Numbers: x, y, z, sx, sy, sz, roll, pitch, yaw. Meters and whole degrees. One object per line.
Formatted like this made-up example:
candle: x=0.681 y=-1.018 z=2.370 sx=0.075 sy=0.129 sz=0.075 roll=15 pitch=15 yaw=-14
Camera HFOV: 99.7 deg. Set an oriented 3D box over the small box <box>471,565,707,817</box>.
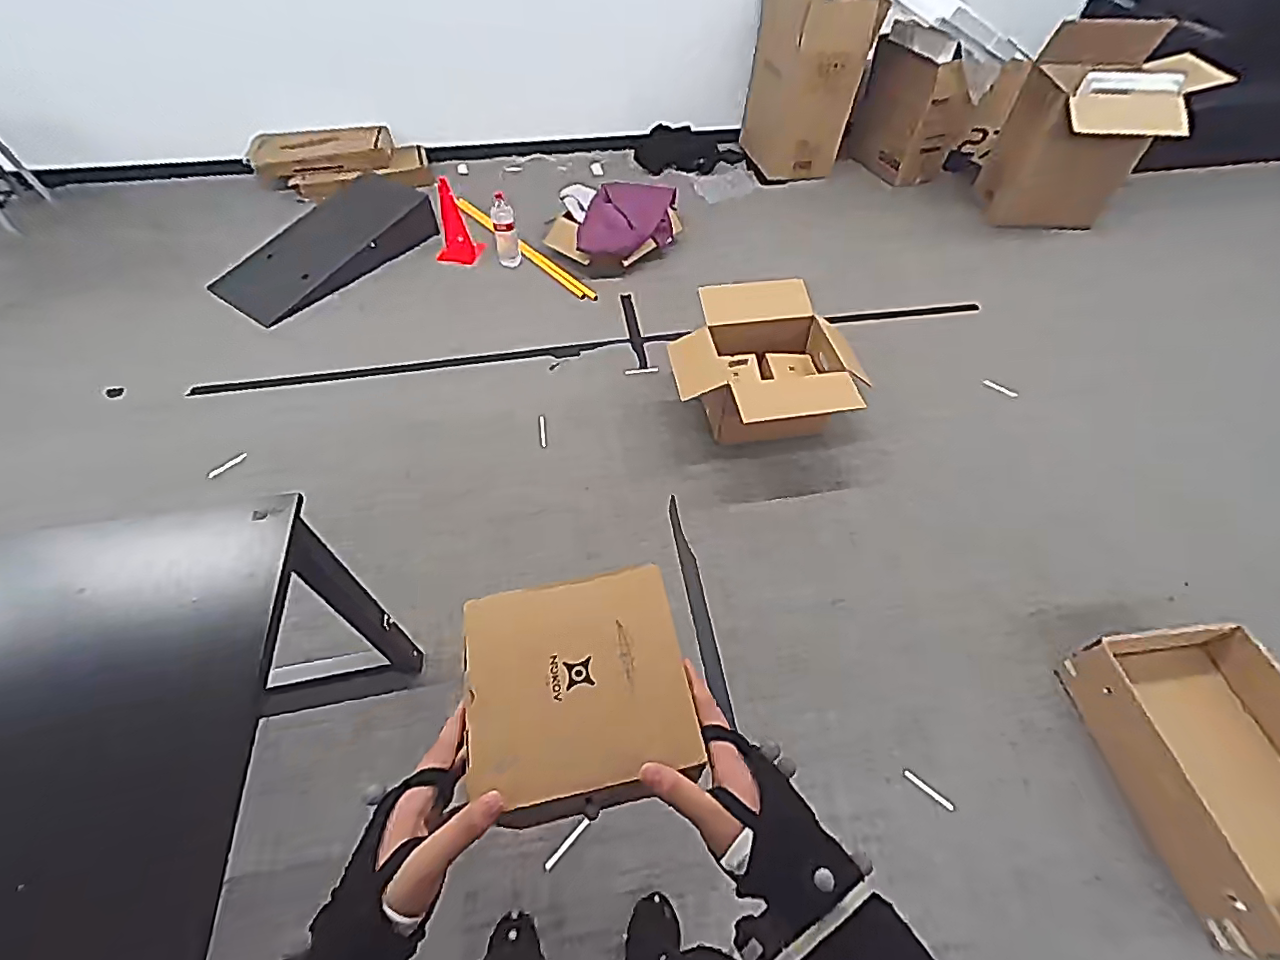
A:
small box: x=-0.045 y=0.202 z=0.505 sx=0.179 sy=0.176 sz=0.168 roll=-11 pitch=57 yaw=-5
